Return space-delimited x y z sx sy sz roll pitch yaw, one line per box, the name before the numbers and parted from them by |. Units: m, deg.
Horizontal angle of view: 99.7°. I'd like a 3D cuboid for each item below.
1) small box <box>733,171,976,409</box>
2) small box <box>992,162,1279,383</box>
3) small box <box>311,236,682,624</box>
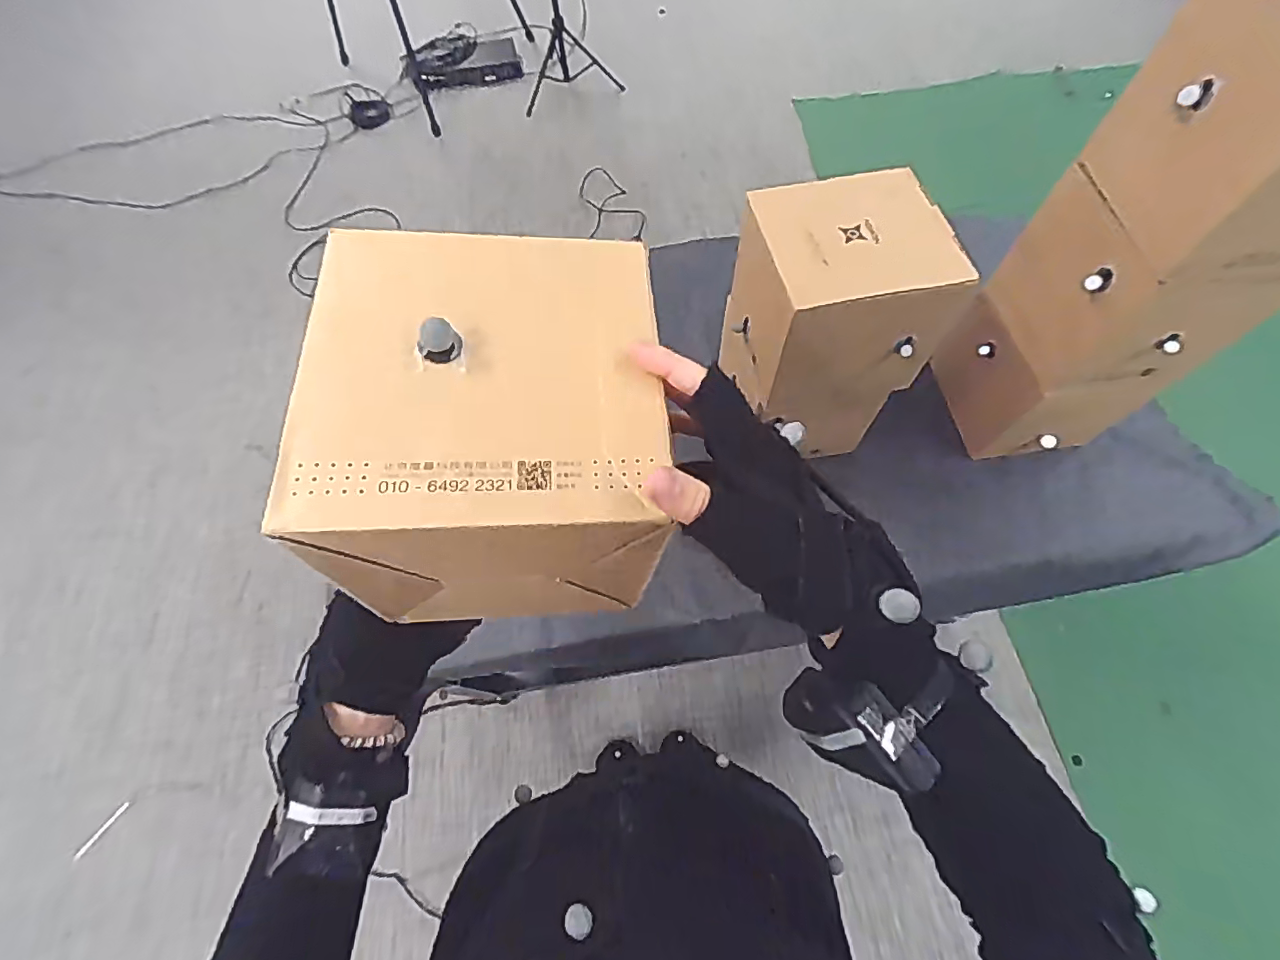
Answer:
small box | 0.212 -0.200 0.594 0.179 0.176 0.168 -10 63 -2
small box | 0.533 -0.220 0.589 0.168 0.176 0.179 -6 64 0
small box | -0.075 -0.019 0.330 0.168 0.179 0.176 -2 63 -8
